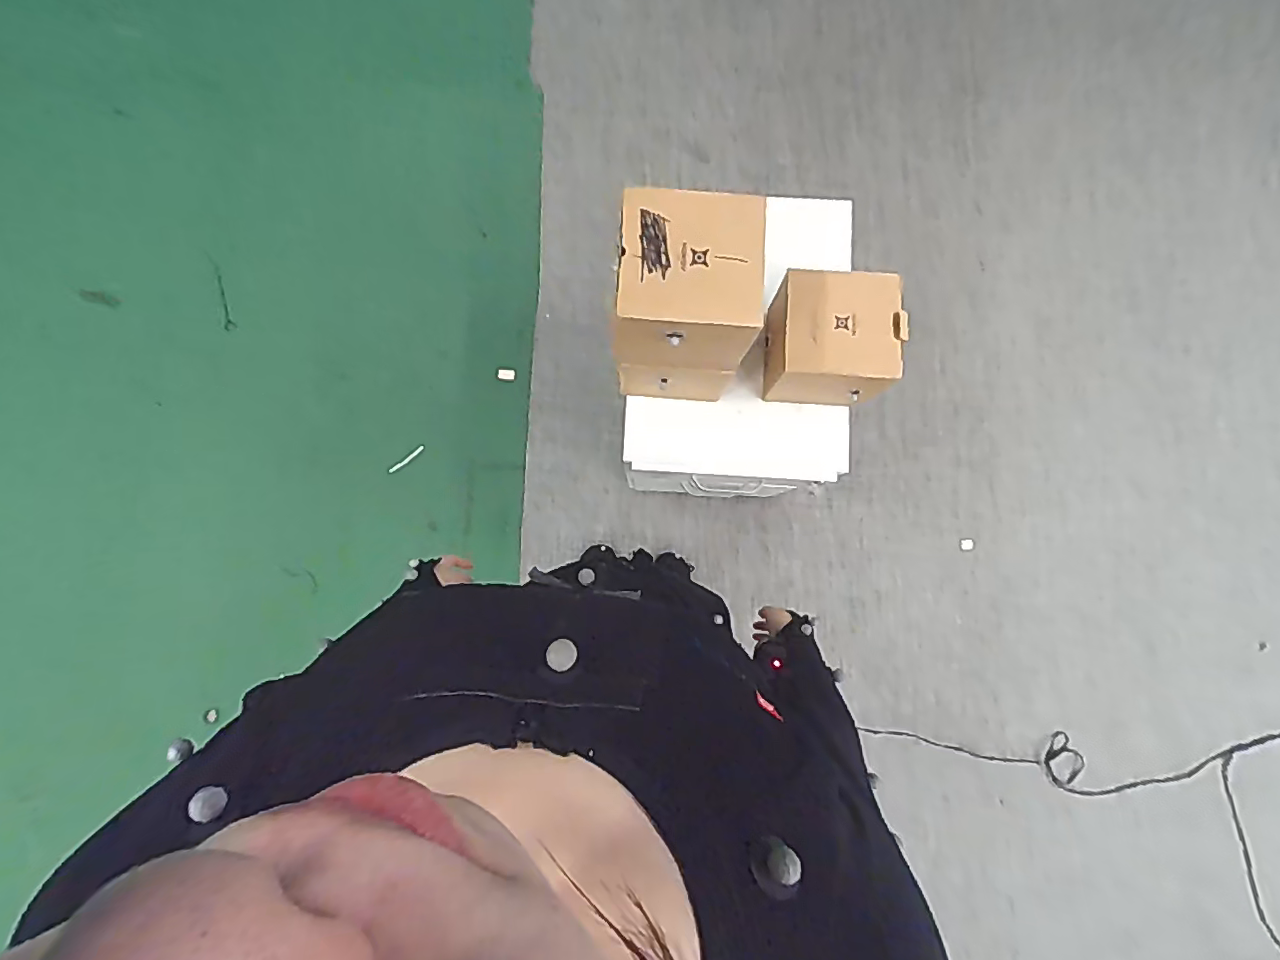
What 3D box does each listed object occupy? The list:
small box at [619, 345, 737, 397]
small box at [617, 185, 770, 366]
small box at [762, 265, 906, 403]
[{"bbox_3d":[0.060,-0.236,0.879,0.179,0.176,0.168,4,85,0],"label":"small box"},{"bbox_3d":[0.062,-0.257,0.716,0.179,0.176,0.168,4,84,-2],"label":"small box"},{"bbox_3d":[0.307,-0.227,0.881,0.179,0.176,0.168,4,84,2],"label":"small box"}]
